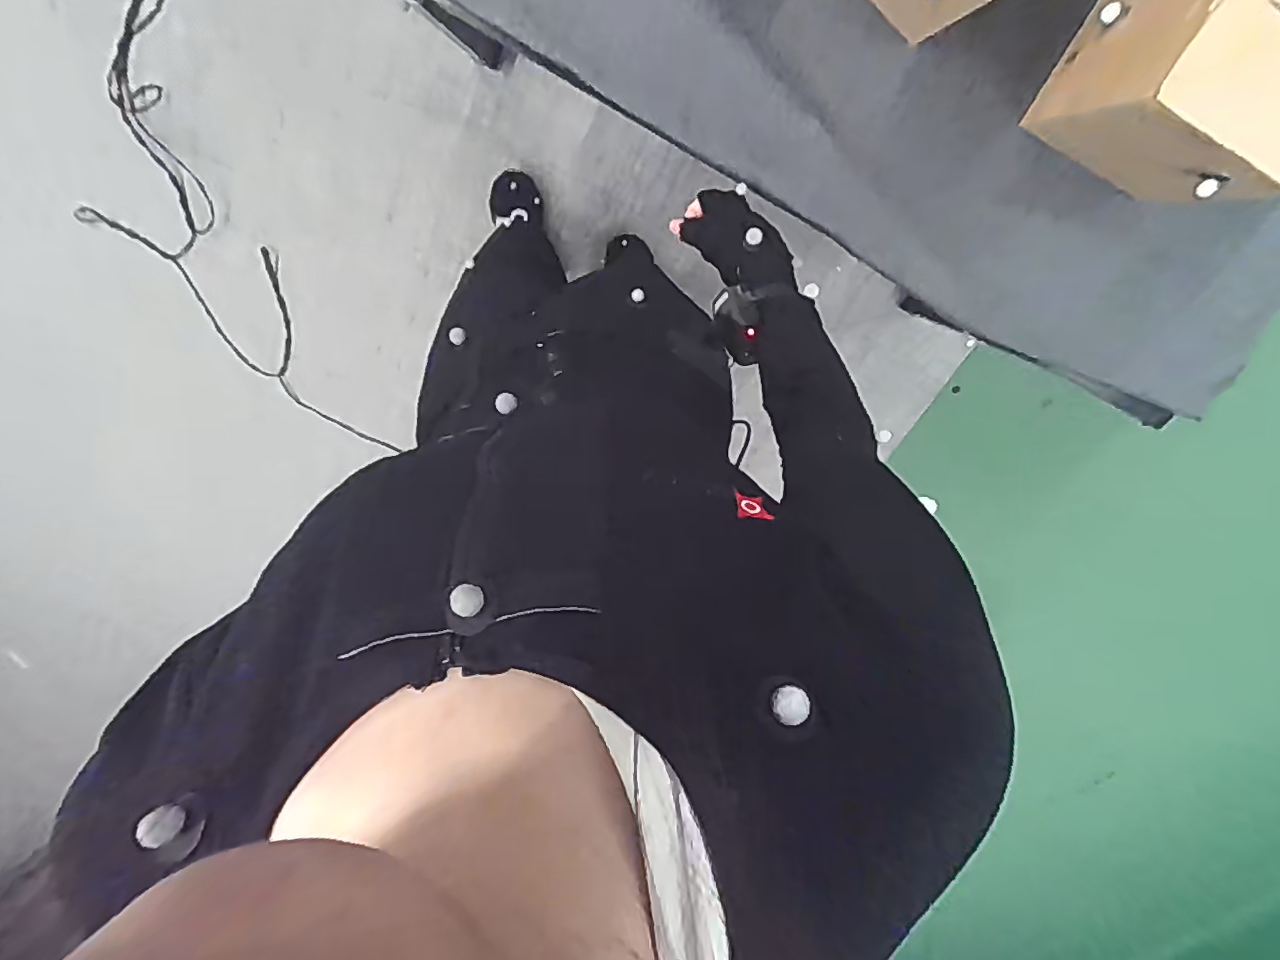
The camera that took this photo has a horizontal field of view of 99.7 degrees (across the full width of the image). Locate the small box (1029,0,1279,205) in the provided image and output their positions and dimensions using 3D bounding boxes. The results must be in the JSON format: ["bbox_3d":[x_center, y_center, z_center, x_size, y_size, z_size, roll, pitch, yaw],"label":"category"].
[{"bbox_3d":[0.513,-0.368,0.481,0.179,0.176,0.168,22,114,-10],"label":"small box"}]
